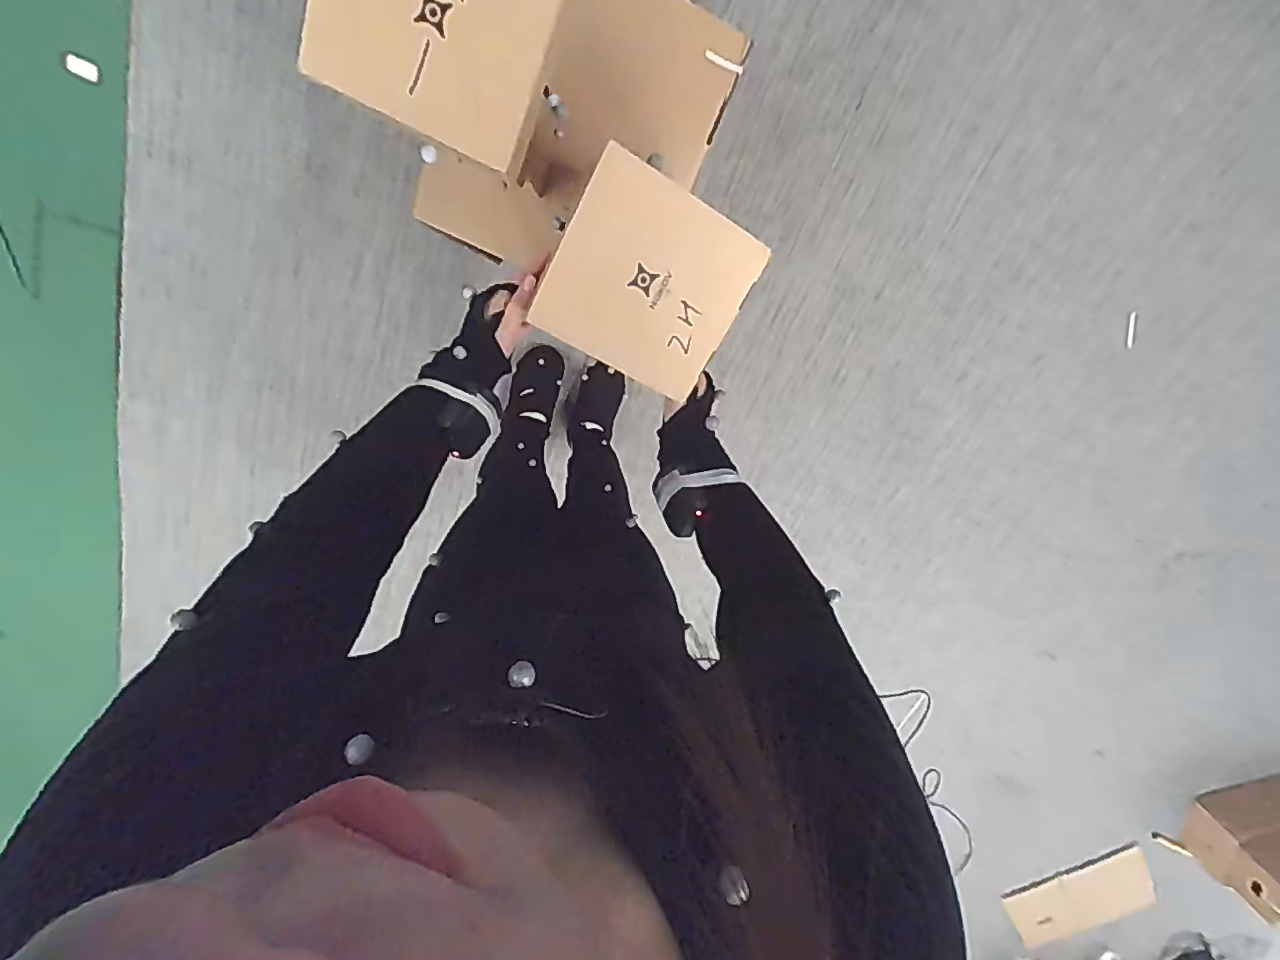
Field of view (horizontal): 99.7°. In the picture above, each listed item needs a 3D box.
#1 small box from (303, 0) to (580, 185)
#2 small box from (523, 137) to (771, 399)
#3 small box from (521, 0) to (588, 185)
[{"bbox_3d":[-0.158,-0.389,0.476,0.168,0.176,0.179,21,111,-16],"label":"small box"},{"bbox_3d":[-0.004,-0.212,0.561,0.179,0.176,0.168,25,108,-19],"label":"small box"},{"bbox_3d":[-0.170,-0.466,0.619,0.168,0.176,0.179,21,111,-15],"label":"small box"}]
